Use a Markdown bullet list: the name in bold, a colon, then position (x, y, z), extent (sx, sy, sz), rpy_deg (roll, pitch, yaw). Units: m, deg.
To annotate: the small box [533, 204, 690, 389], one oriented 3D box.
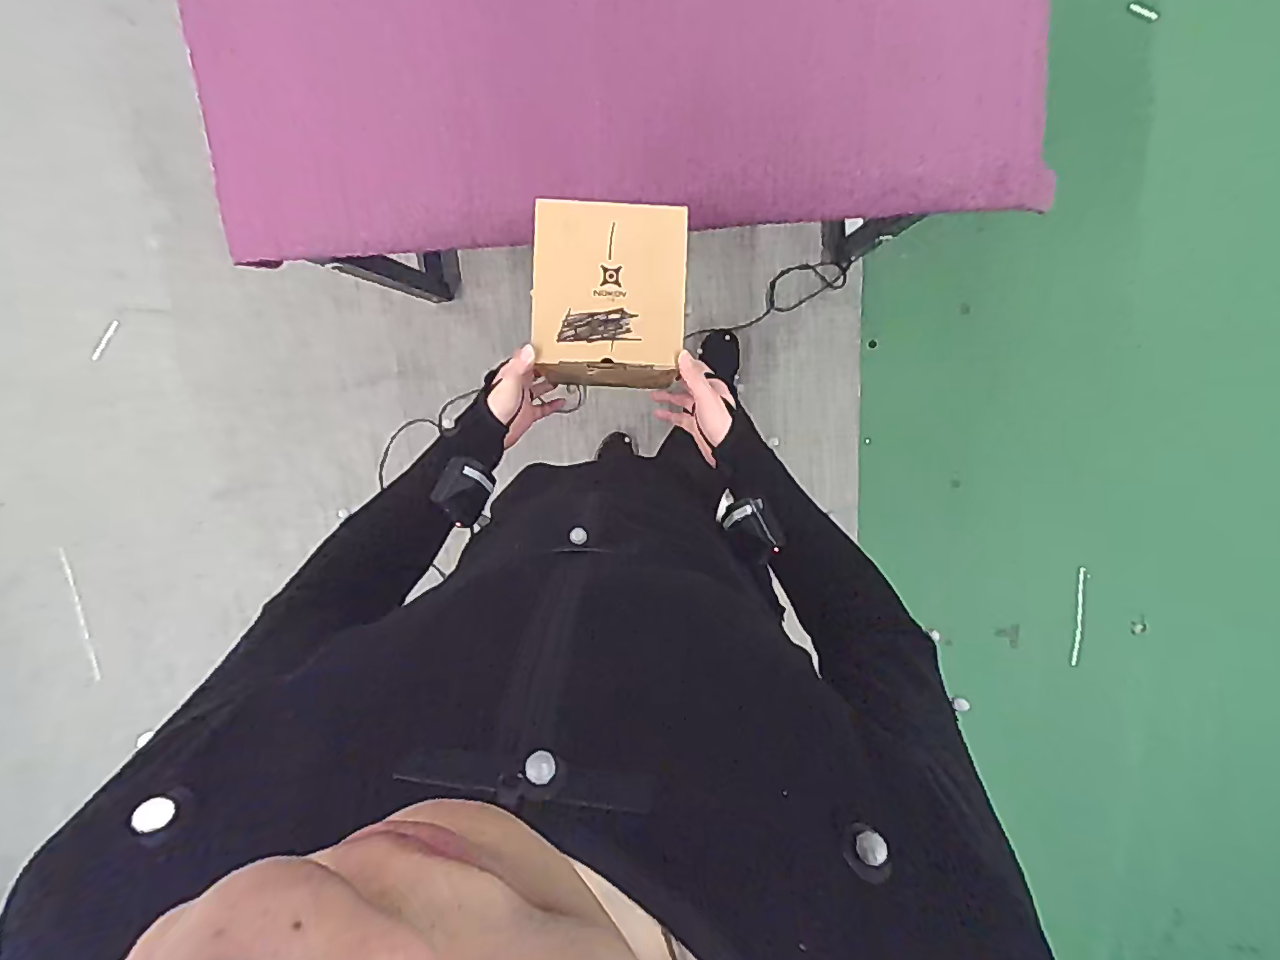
- **small box**: position (-0.035, -0.209, 0.665), extent (0.168, 0.176, 0.179), rpy_deg (2, 92, -4)
